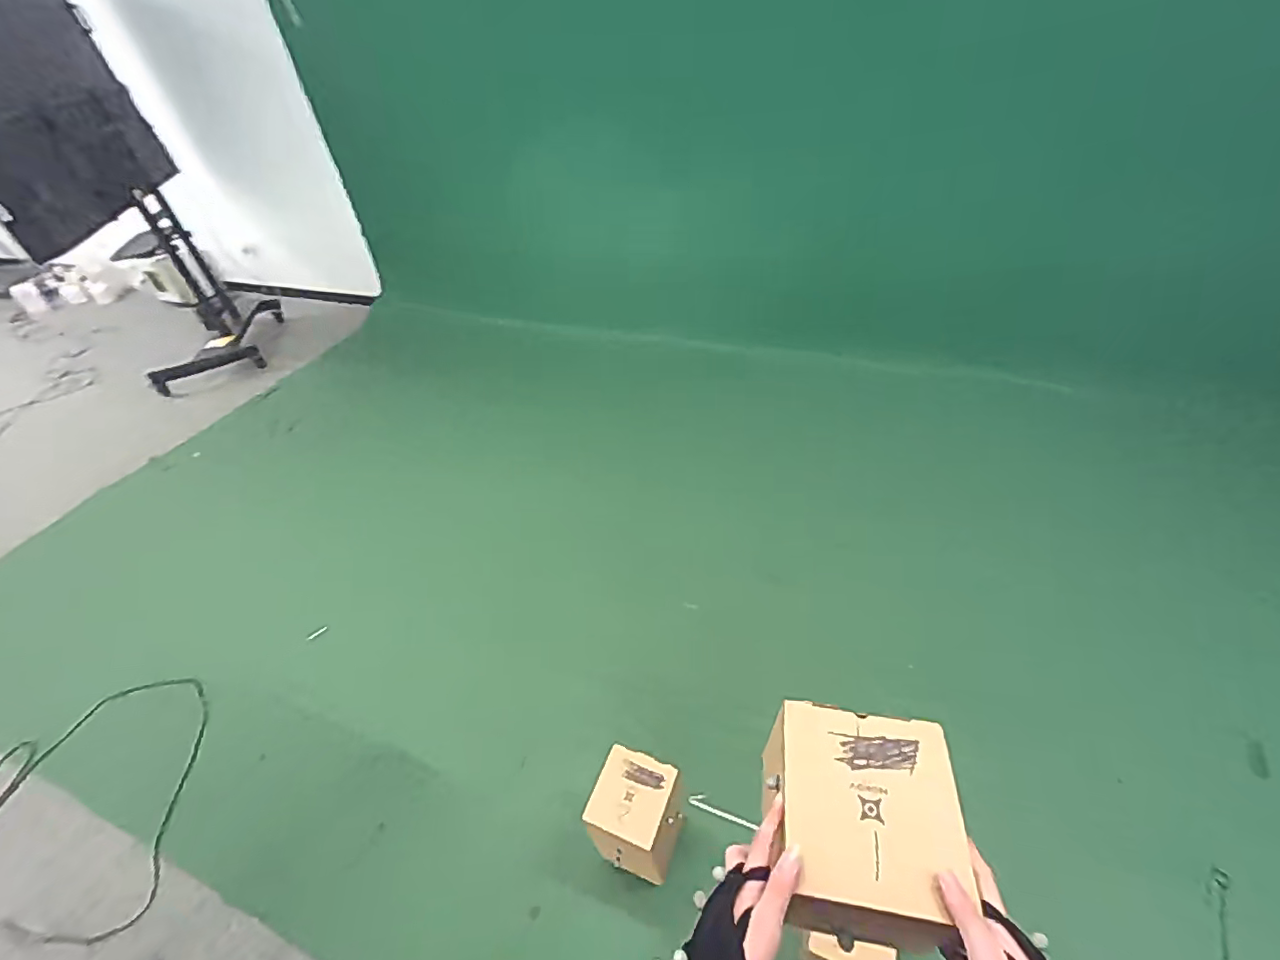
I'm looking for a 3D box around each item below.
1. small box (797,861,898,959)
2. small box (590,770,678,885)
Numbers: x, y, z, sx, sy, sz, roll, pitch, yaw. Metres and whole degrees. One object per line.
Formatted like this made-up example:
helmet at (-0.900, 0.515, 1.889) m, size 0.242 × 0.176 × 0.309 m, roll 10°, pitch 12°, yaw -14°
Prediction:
small box at (0.452, 0.991, 1.190) m, size 0.168 × 0.176 × 0.179 m, roll 14°, pitch 46°, yaw 21°
small box at (-0.005, 0.881, 1.367) m, size 0.168 × 0.176 × 0.179 m, roll 13°, pitch 44°, yaw 20°
